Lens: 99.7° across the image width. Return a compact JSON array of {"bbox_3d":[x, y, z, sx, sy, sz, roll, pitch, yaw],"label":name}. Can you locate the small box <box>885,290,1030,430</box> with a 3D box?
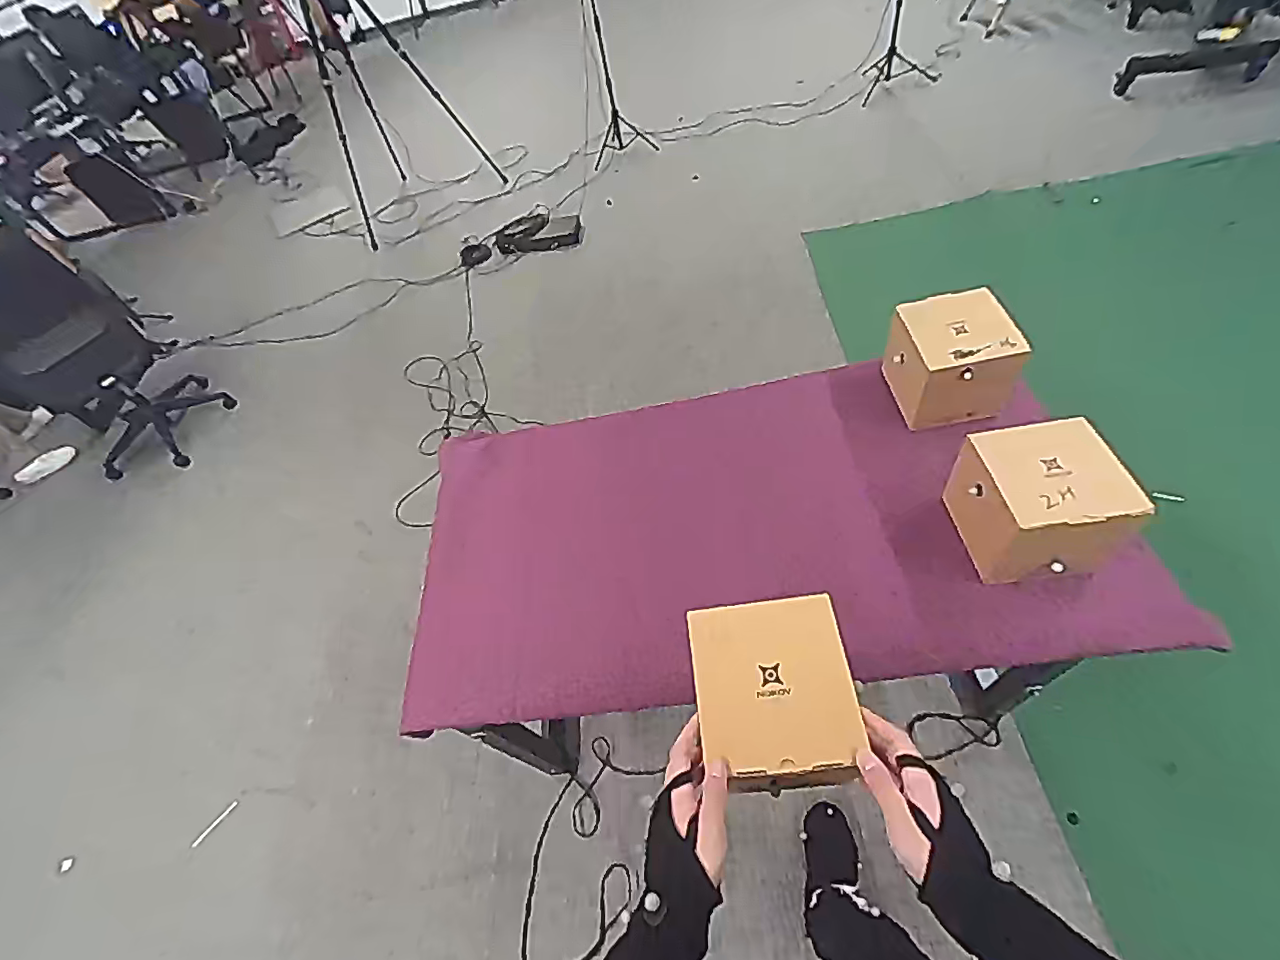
[{"bbox_3d":[0.578,-0.221,1.015,0.168,0.176,0.179,-11,54,8],"label":"small box"}]

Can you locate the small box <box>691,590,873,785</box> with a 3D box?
[{"bbox_3d":[0.155,0.252,0.645,0.168,0.176,0.179,-9,56,6],"label":"small box"}]

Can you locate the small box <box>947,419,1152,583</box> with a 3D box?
[{"bbox_3d":[0.596,0.035,0.822,0.168,0.176,0.179,-9,52,8],"label":"small box"}]
